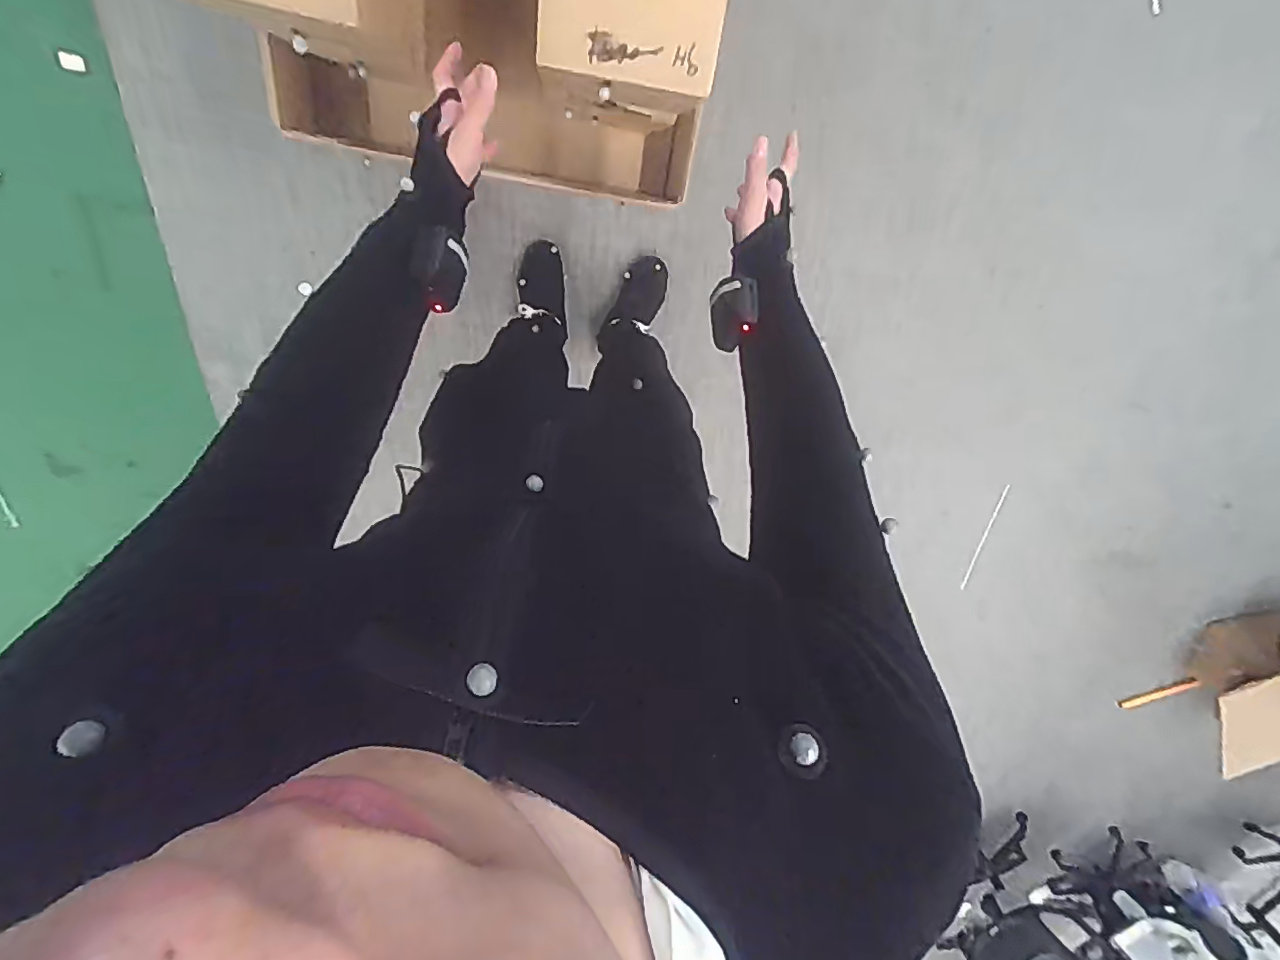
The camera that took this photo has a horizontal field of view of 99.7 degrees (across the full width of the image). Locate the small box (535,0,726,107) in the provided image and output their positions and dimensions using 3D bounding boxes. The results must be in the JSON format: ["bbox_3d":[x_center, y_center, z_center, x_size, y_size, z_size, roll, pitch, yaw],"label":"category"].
[{"bbox_3d":[-0.010,-0.485,0.521,0.168,0.176,0.179,4,120,-9],"label":"small box"}]

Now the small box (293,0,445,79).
[{"bbox_3d":[-0.325,-0.592,0.616,0.168,0.176,0.179,8,119,-9],"label":"small box"}]

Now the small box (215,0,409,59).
[{"bbox_3d":[-0.311,-0.510,0.476,0.168,0.176,0.179,7,118,-9],"label":"small box"}]

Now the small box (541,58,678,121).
[{"bbox_3d":[-0.025,-0.562,0.665,0.168,0.176,0.179,7,119,-10],"label":"small box"}]
